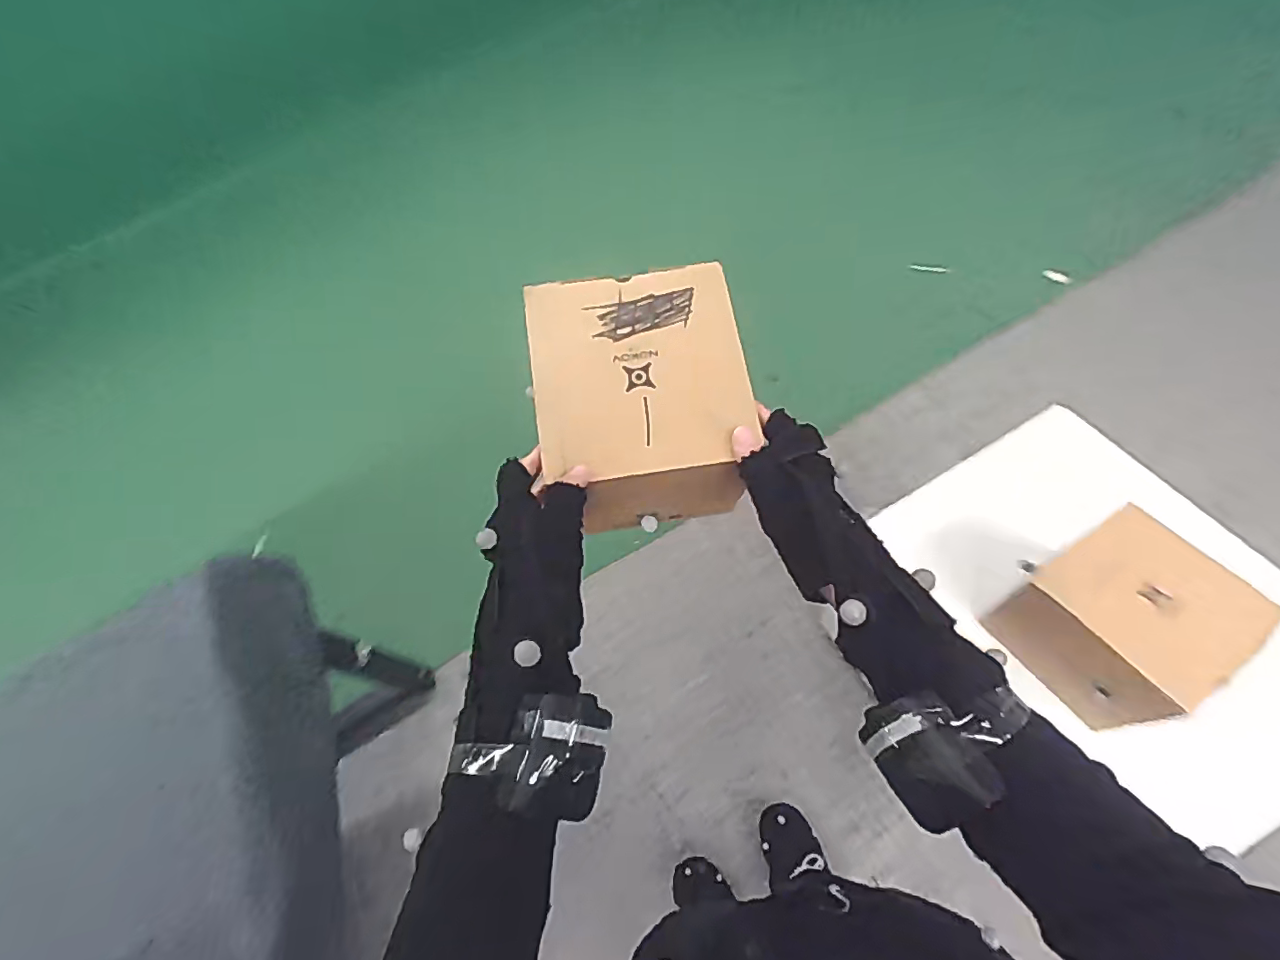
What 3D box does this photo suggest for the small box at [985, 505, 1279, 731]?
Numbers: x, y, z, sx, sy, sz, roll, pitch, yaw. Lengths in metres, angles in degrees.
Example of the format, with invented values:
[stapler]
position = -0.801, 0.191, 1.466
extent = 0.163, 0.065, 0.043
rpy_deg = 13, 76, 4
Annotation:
[small box]
position = 0.555, 0.168, 0.628
extent = 0.168, 0.176, 0.179
rpy_deg = -34, 58, -10
